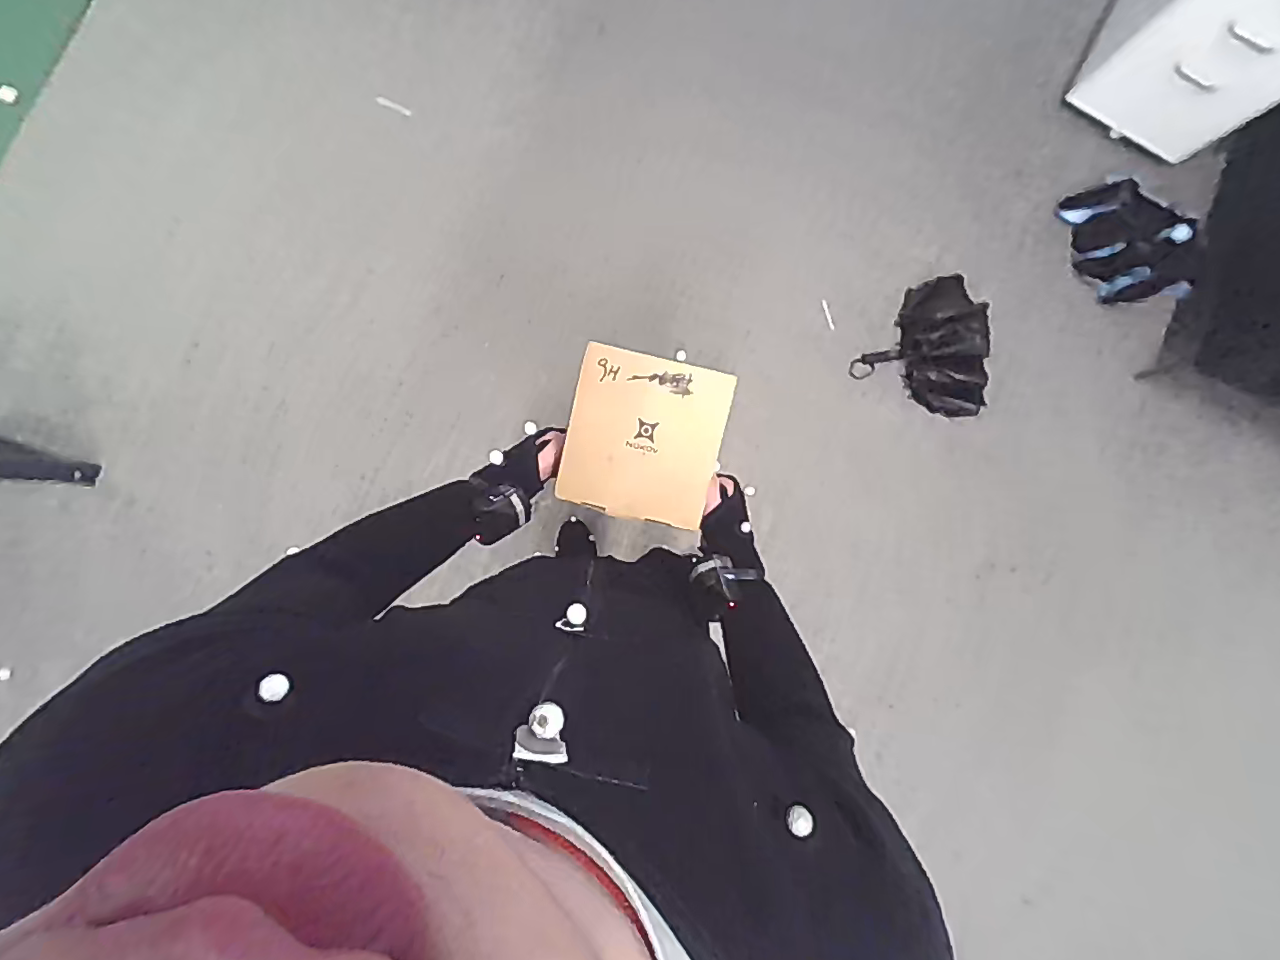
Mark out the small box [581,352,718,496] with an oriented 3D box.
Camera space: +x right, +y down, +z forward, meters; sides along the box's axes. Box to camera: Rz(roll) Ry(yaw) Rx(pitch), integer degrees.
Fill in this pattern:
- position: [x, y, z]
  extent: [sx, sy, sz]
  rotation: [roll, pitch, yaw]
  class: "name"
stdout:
- position: [0.016, -0.085, 0.829]
  extent: [0.168, 0.176, 0.179]
  rotation: [11, 96, 1]
  class: "small box"
